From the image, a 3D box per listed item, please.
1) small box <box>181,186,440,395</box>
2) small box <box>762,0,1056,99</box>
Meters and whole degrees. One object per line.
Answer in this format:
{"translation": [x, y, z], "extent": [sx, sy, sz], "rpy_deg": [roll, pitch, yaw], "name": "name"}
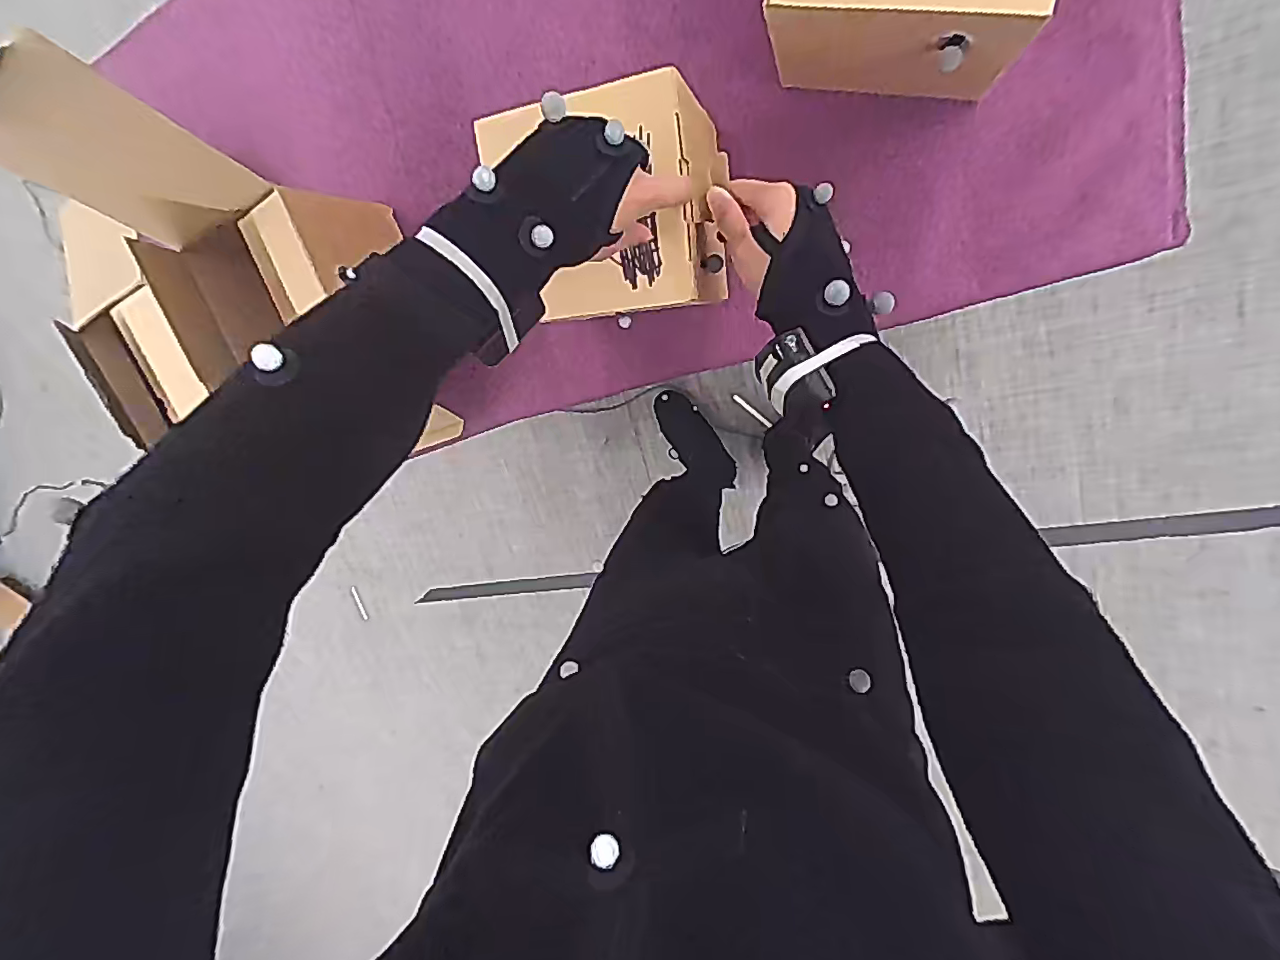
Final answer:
{"translation": [-0.376, -0.220, 0.649], "extent": [0.168, 0.176, 0.179], "rpy_deg": [-14, 104, 22], "name": "small box"}
{"translation": [0.200, -0.394, 0.384], "extent": [0.179, 0.176, 0.168], "rpy_deg": [16, 113, 14], "name": "small box"}
